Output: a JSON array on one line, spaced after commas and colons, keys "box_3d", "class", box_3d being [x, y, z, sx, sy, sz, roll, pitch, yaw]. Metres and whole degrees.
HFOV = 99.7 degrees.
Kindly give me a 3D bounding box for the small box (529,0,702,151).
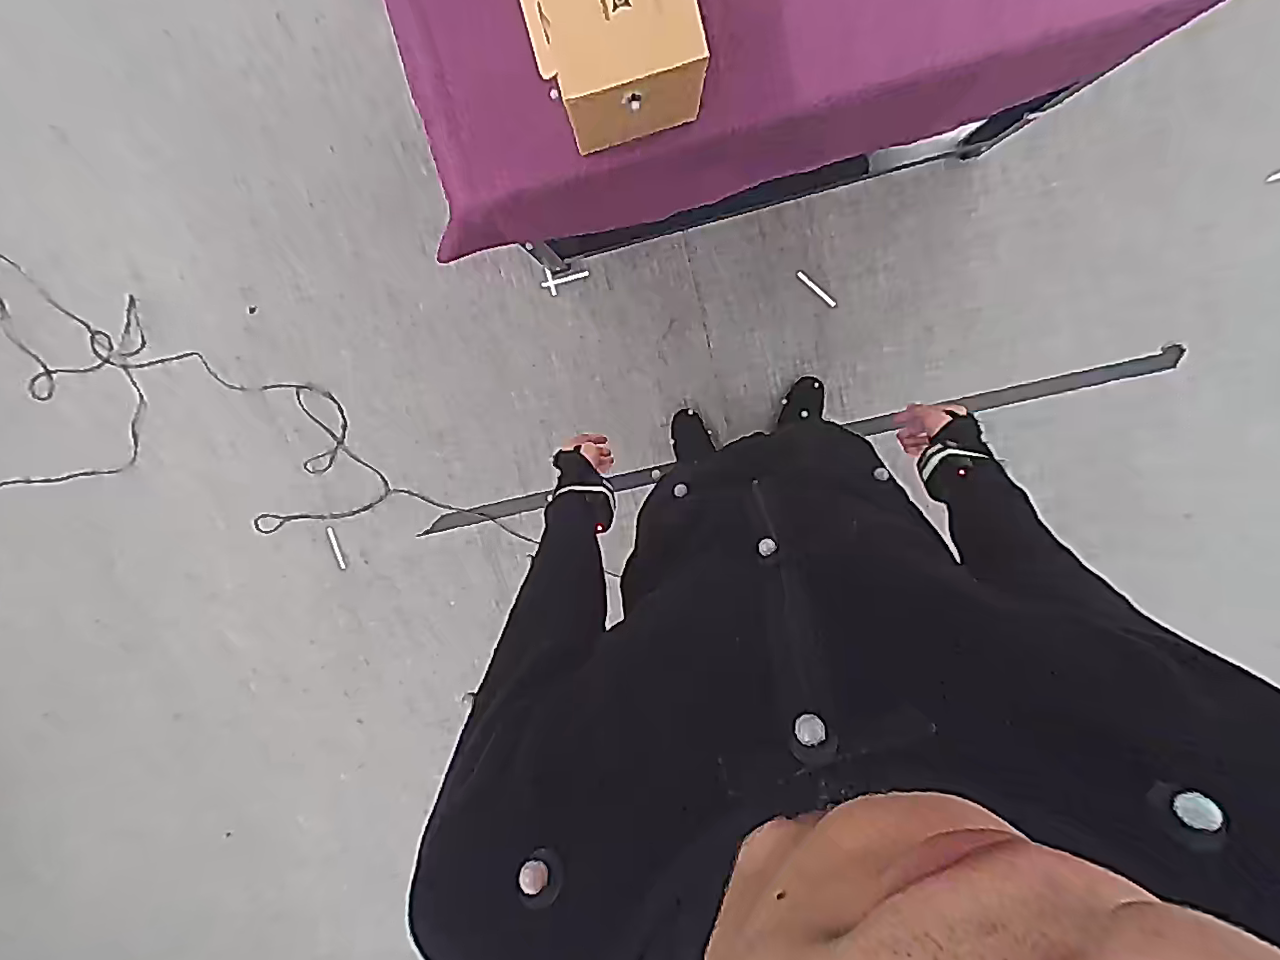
[{"box_3d": [-0.030, -0.547, 0.678, 0.179, 0.176, 0.168, -15, 102, 3], "class": "small box"}]
